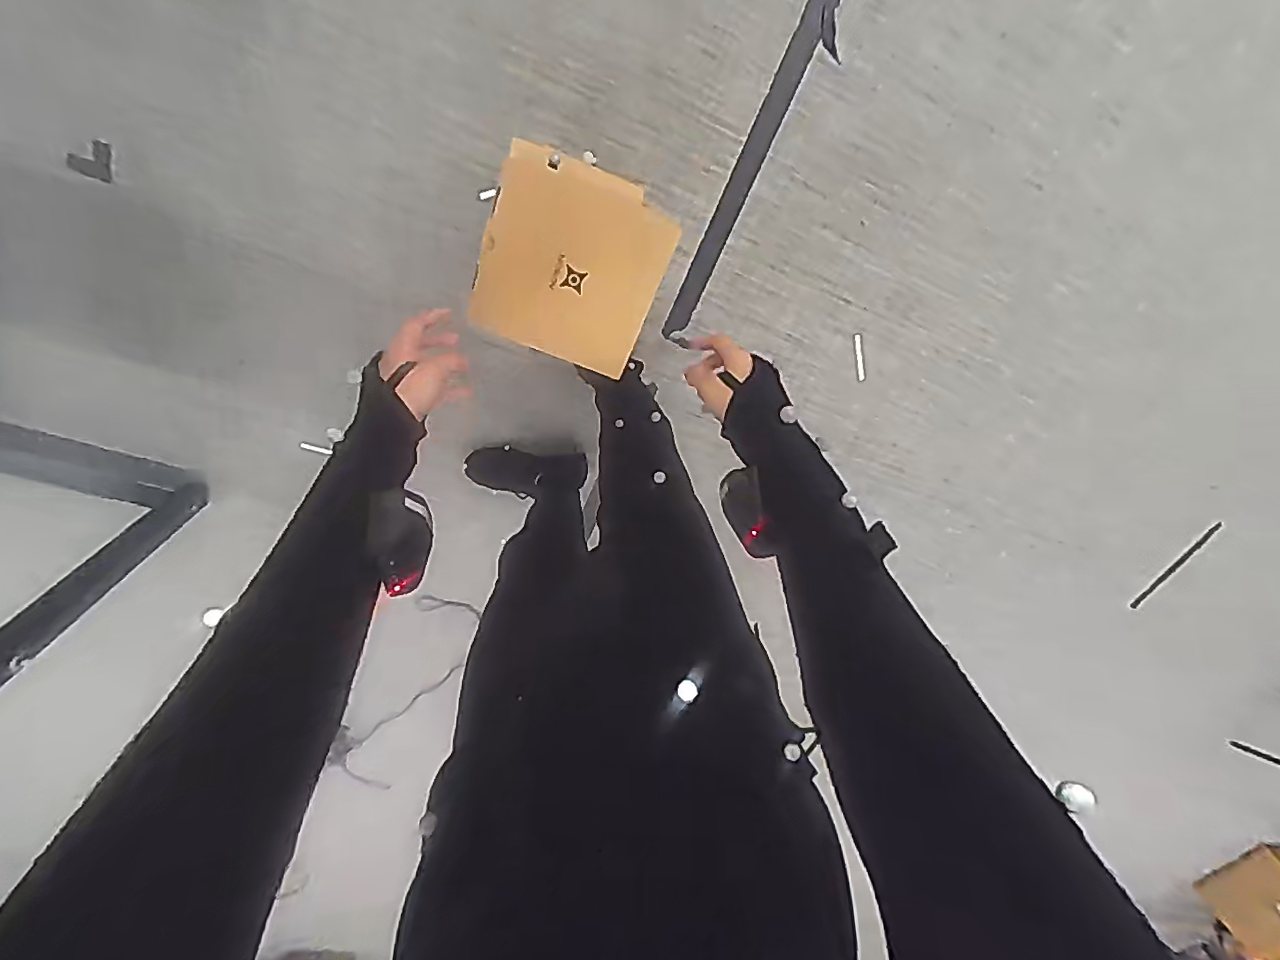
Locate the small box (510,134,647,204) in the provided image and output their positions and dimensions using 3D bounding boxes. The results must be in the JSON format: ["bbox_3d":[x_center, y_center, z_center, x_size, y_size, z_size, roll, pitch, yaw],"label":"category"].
[{"bbox_3d":[-0.101,-0.339,0.735,0.168,0.176,0.179,15,117,-15],"label":"small box"}]

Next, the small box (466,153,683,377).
[{"bbox_3d":[-0.073,-0.244,0.605,0.179,0.176,0.168,18,117,-15],"label":"small box"}]
